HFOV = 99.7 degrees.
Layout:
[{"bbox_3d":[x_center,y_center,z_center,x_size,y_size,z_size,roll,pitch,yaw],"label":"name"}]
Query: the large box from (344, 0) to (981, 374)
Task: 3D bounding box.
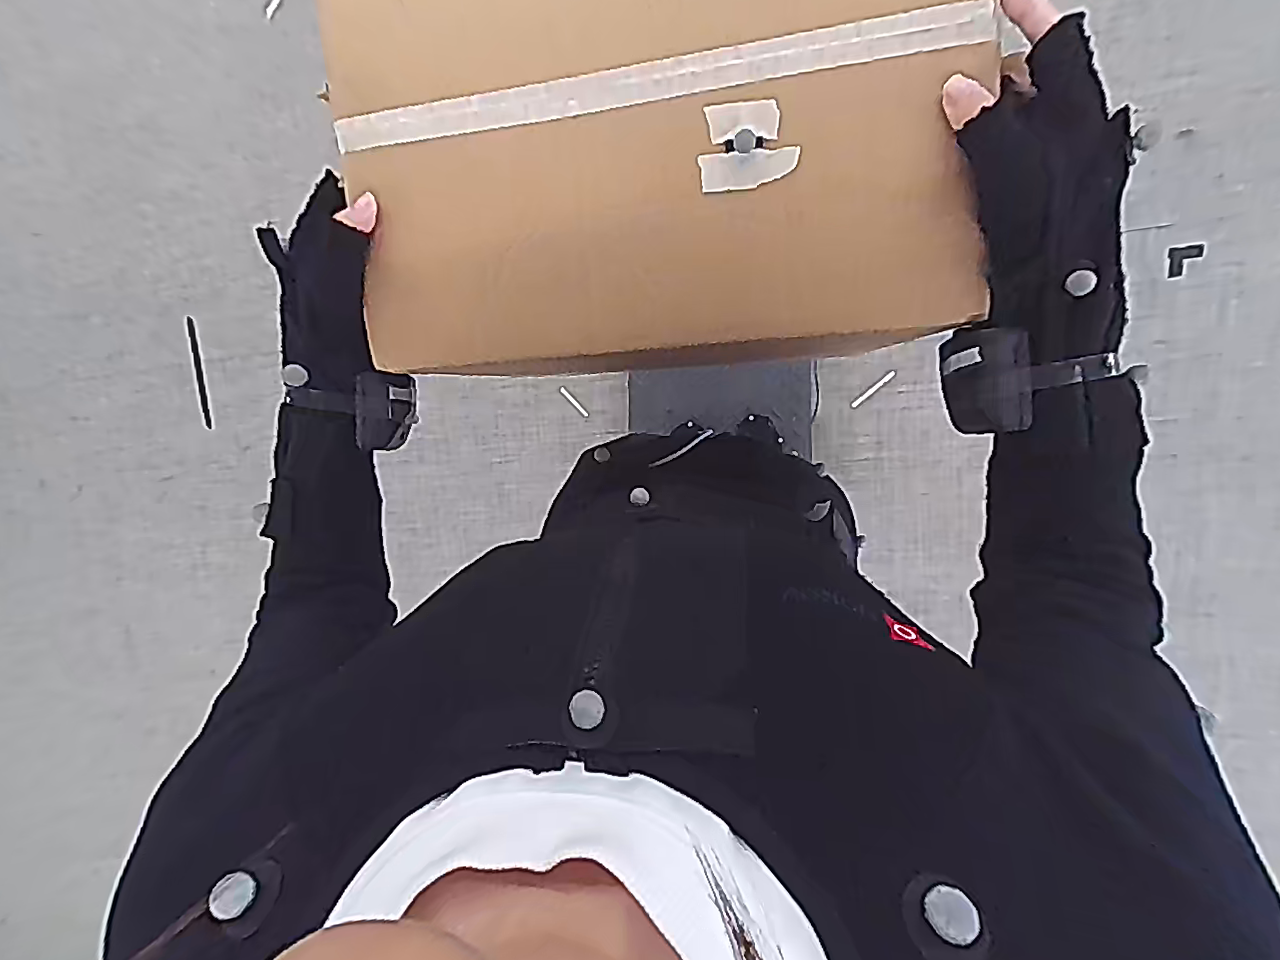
[{"bbox_3d":[0.024,-0.272,0.489,0.408,0.320,0.320,-3,100,10],"label":"large box"}]
